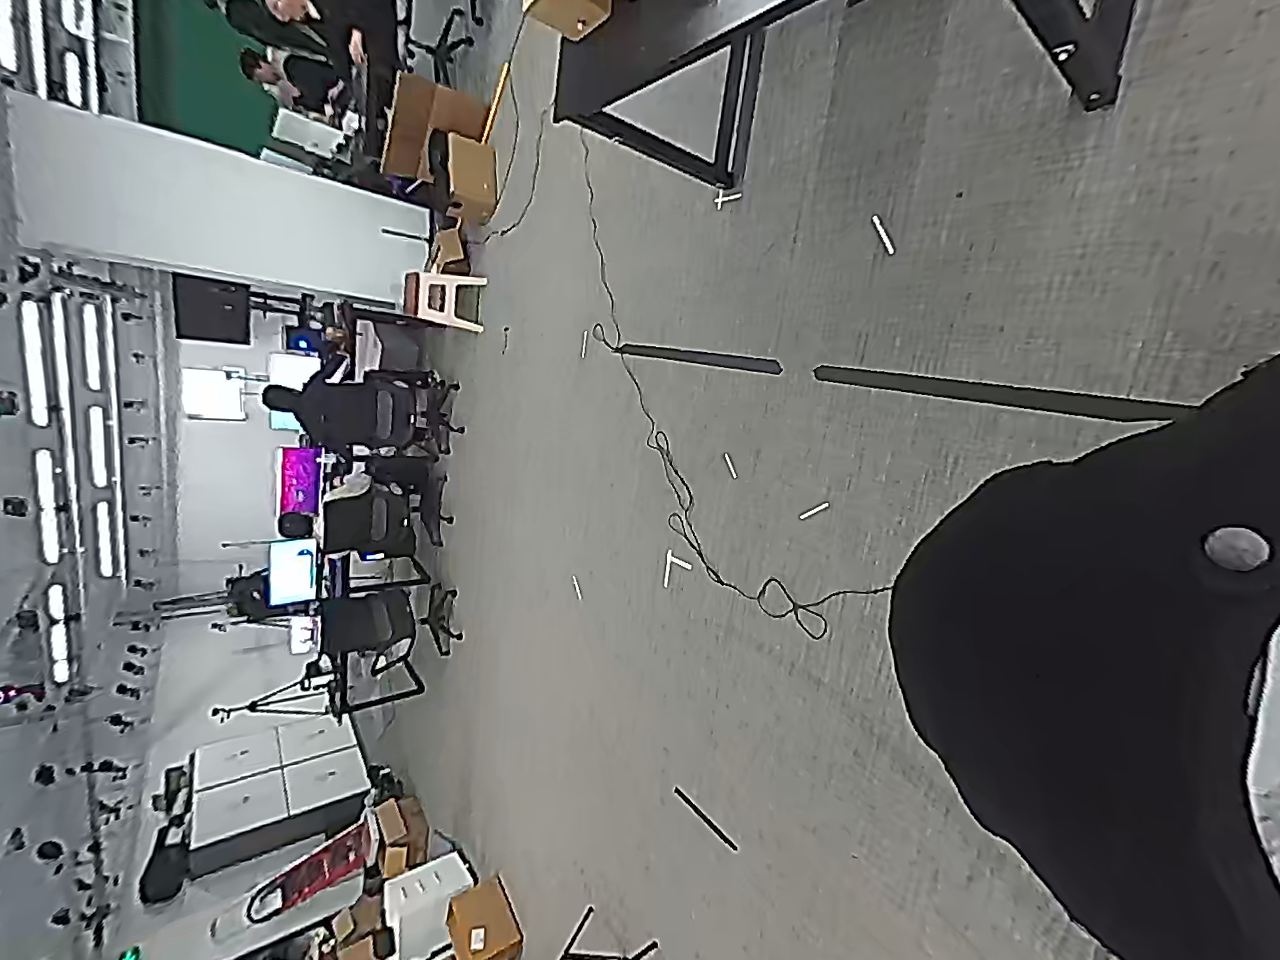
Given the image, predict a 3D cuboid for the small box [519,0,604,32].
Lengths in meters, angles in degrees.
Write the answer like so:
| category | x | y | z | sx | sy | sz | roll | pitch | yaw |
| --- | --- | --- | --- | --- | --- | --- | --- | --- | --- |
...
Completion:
| category | x | y | z | sx | sy | sz | roll | pitch | yaw |
| --- | --- | --- | --- | --- | --- | --- | --- | --- | --- |
| small box | -0.188 | -1.298 | 1.375 | 0.179 | 0.176 | 0.168 | 19 | 105 | 49 |
